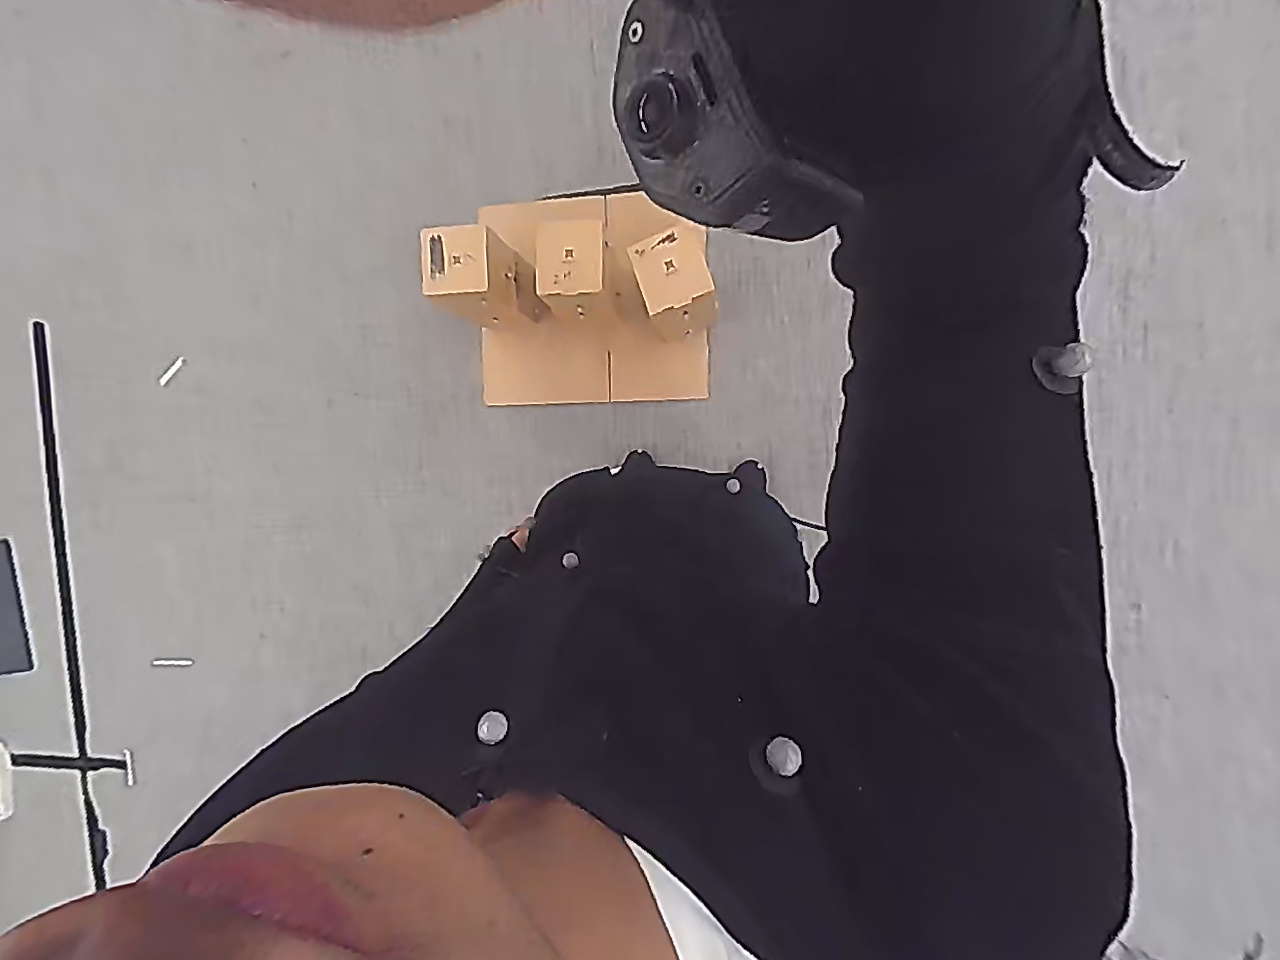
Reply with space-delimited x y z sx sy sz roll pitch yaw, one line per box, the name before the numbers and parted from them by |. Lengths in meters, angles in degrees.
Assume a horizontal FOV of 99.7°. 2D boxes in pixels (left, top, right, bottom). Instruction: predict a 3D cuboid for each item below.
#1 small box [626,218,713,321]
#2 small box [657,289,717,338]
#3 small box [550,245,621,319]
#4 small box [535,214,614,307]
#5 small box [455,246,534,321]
small box | 0.080 -0.509 1.345 0.168 0.176 0.179 -19 91 9
small box | 0.109 -0.519 1.505 0.168 0.176 0.179 -21 90 9
small box | -0.150 -0.559 1.537 0.179 0.176 0.168 1 94 7
small box | -0.162 -0.551 1.373 0.168 0.176 0.179 1 94 7
small box | -0.414 -0.565 1.570 0.179 0.176 0.168 -1 93 9
